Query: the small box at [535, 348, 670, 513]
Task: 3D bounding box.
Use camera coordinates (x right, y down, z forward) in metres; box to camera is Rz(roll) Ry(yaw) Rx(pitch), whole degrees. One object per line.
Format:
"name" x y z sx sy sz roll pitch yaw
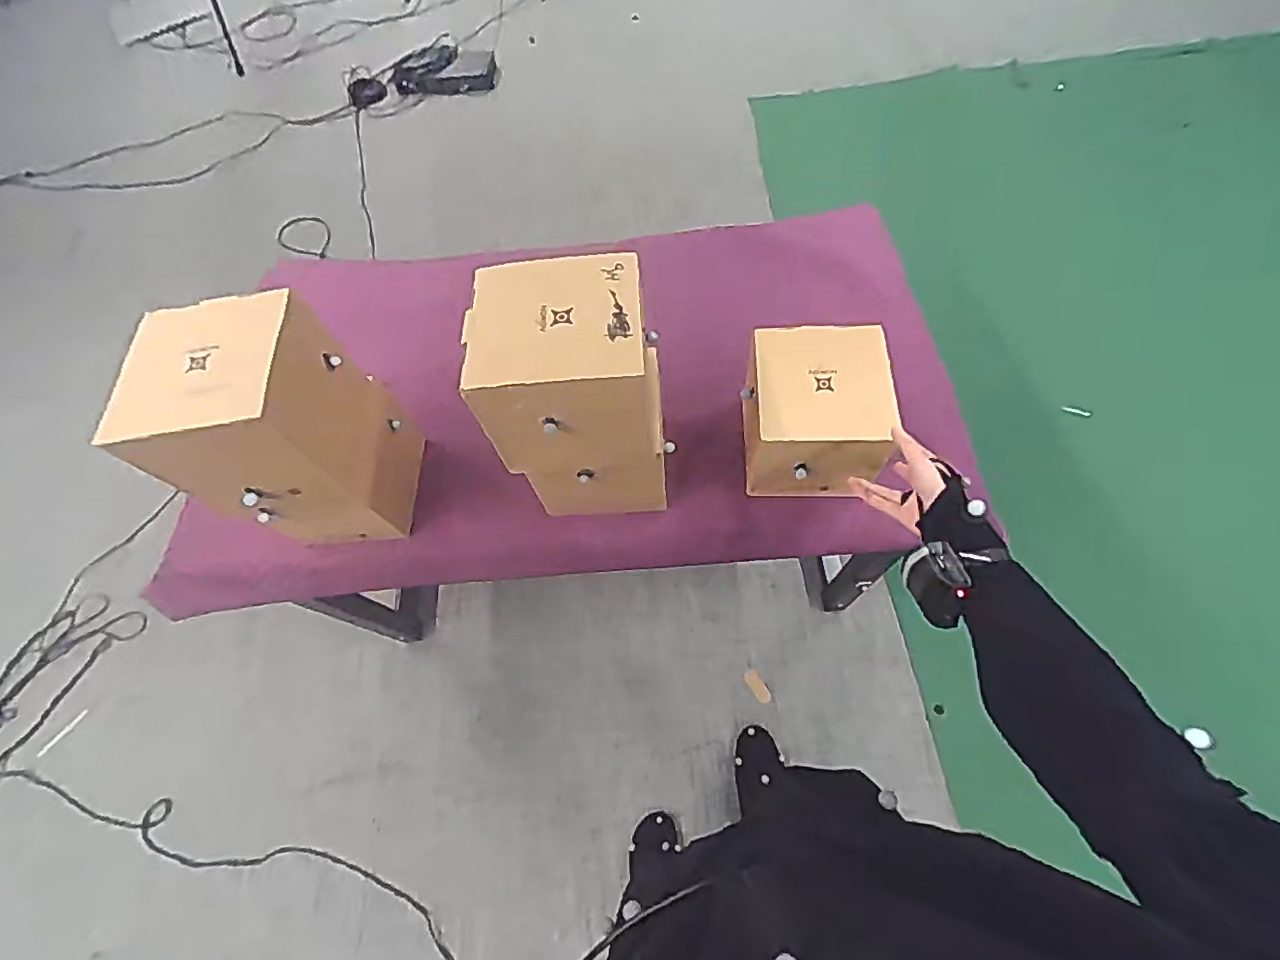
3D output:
"small box" -0.051 -0.061 0.753 0.179 0.176 0.168 -3 63 3

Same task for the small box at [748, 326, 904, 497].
"small box" 0.239 -0.085 0.739 0.168 0.176 0.179 0 63 6

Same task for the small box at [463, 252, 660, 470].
"small box" -0.073 -0.122 0.602 0.179 0.176 0.168 -5 63 4

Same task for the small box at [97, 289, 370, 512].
"small box" -0.433 -0.084 0.615 0.168 0.176 0.179 -9 62 1
